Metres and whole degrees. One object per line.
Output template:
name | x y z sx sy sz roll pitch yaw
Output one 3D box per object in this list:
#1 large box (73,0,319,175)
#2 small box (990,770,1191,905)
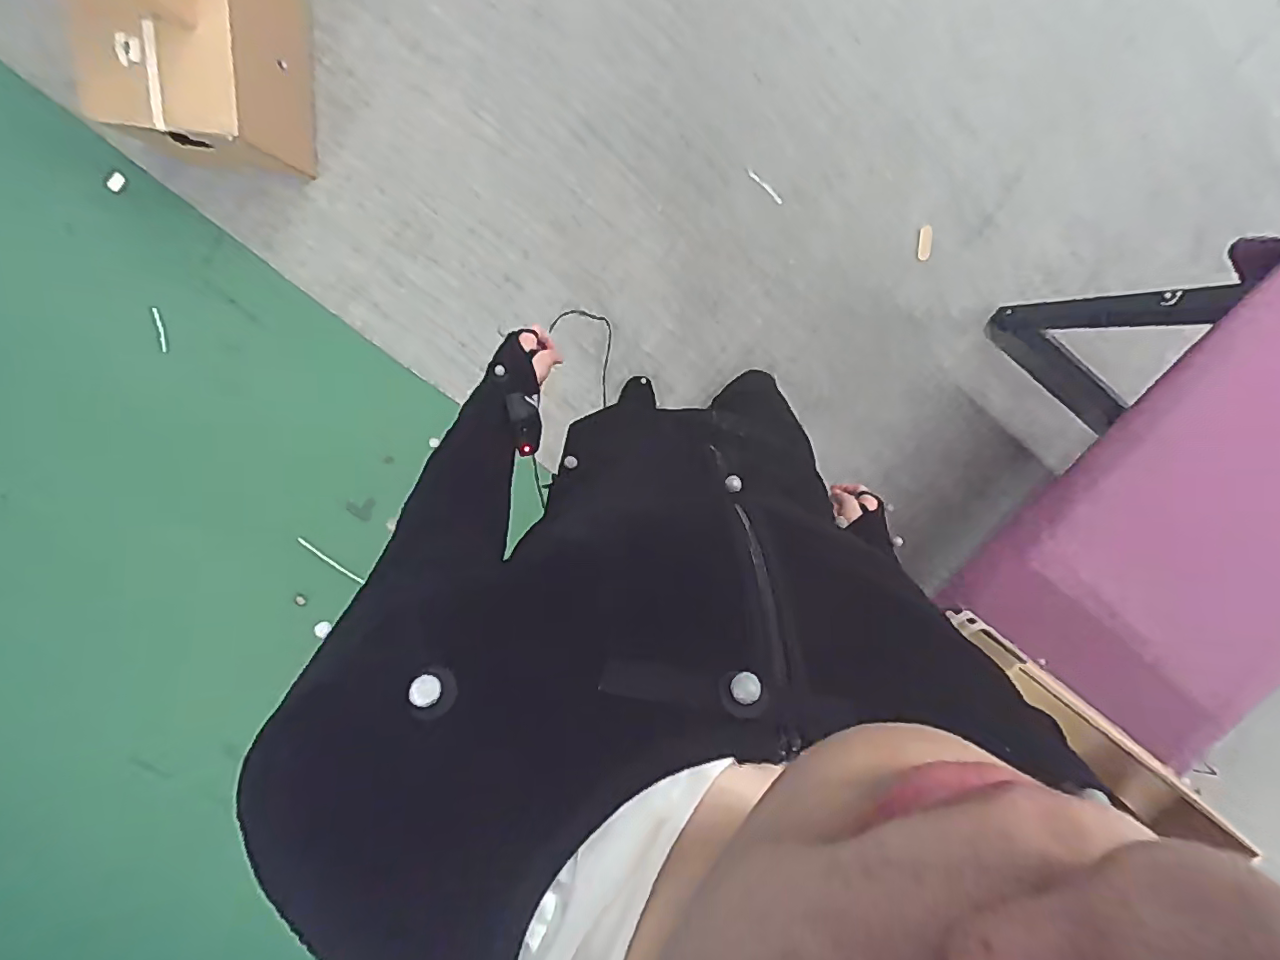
large box | -0.970 -0.962 1.217 0.320 0.320 0.408 5 106 -2
small box | 0.775 0.653 0.952 0.179 0.176 0.168 39 99 -10
